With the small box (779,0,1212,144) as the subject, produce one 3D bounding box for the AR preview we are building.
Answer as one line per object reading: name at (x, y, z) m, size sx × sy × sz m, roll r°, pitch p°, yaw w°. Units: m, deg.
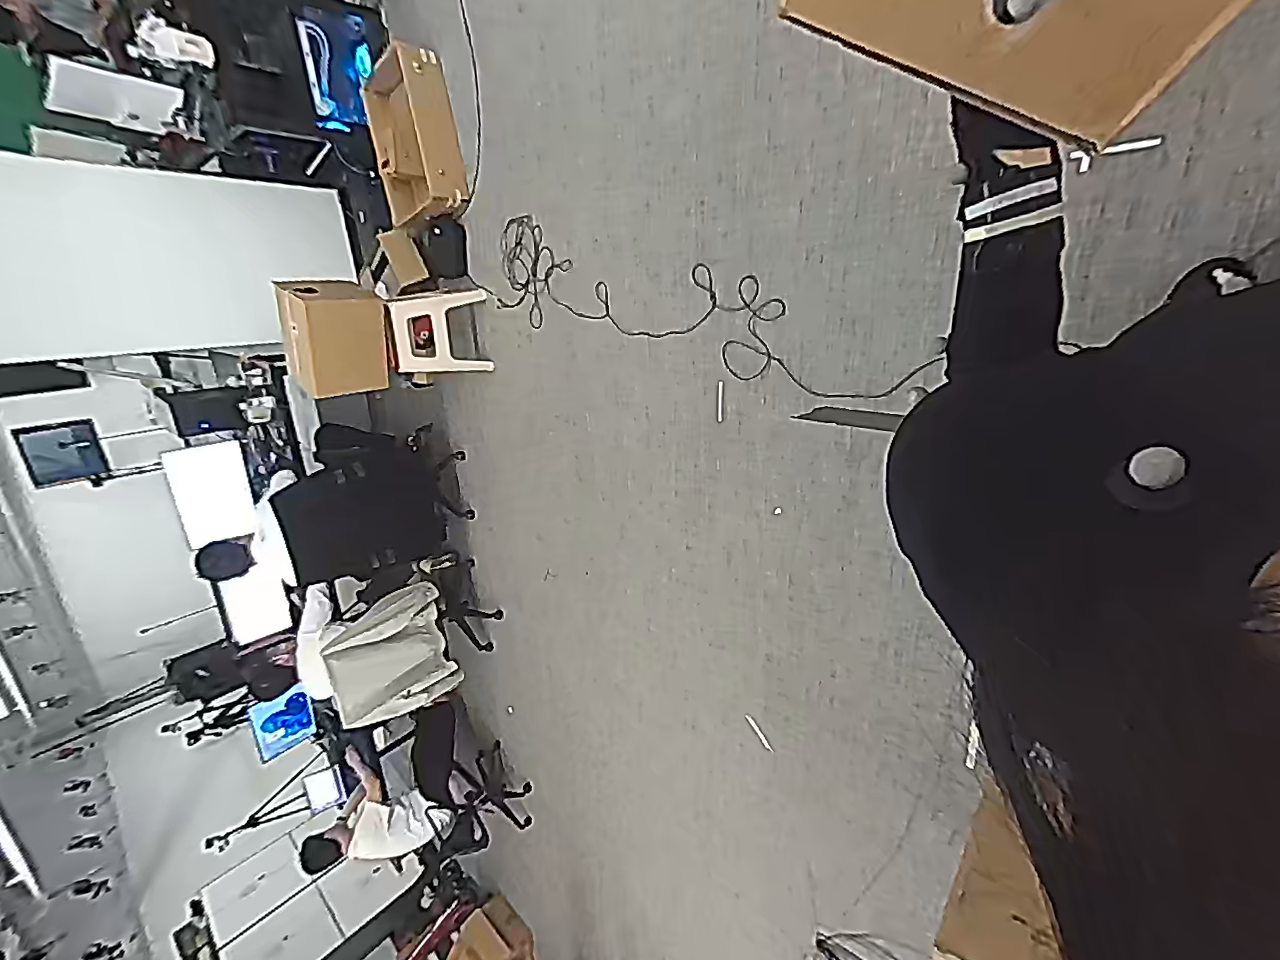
small box at (0.182, -0.294, 0.225) m, size 0.179 × 0.168 × 0.176 m, roll 20°, pitch 150°, yaw -5°
